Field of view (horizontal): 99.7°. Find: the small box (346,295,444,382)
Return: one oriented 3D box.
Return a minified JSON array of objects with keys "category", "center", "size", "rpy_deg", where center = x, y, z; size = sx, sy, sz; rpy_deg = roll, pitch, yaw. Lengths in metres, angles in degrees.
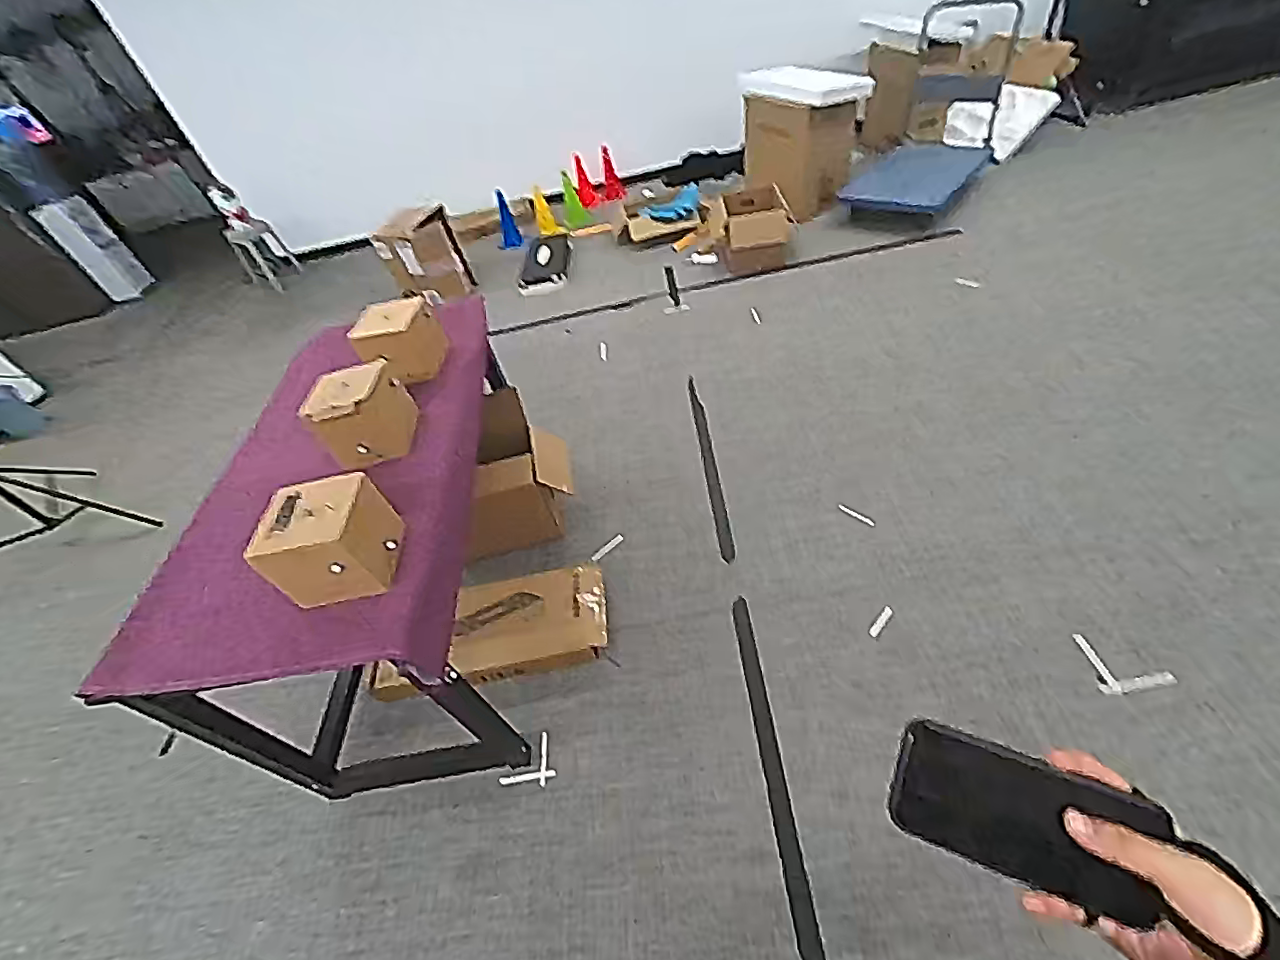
[{"category":"small box","center":[-0.674,-0.388,1.515],"size":[0.168,0.176,0.179],"rpy_deg":[-7,46,8]}]

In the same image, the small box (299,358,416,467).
[{"category":"small box","center":[-0.662,-0.159,1.294],"size":[0.168,0.176,0.179],"rpy_deg":[-14,45,5]}]
